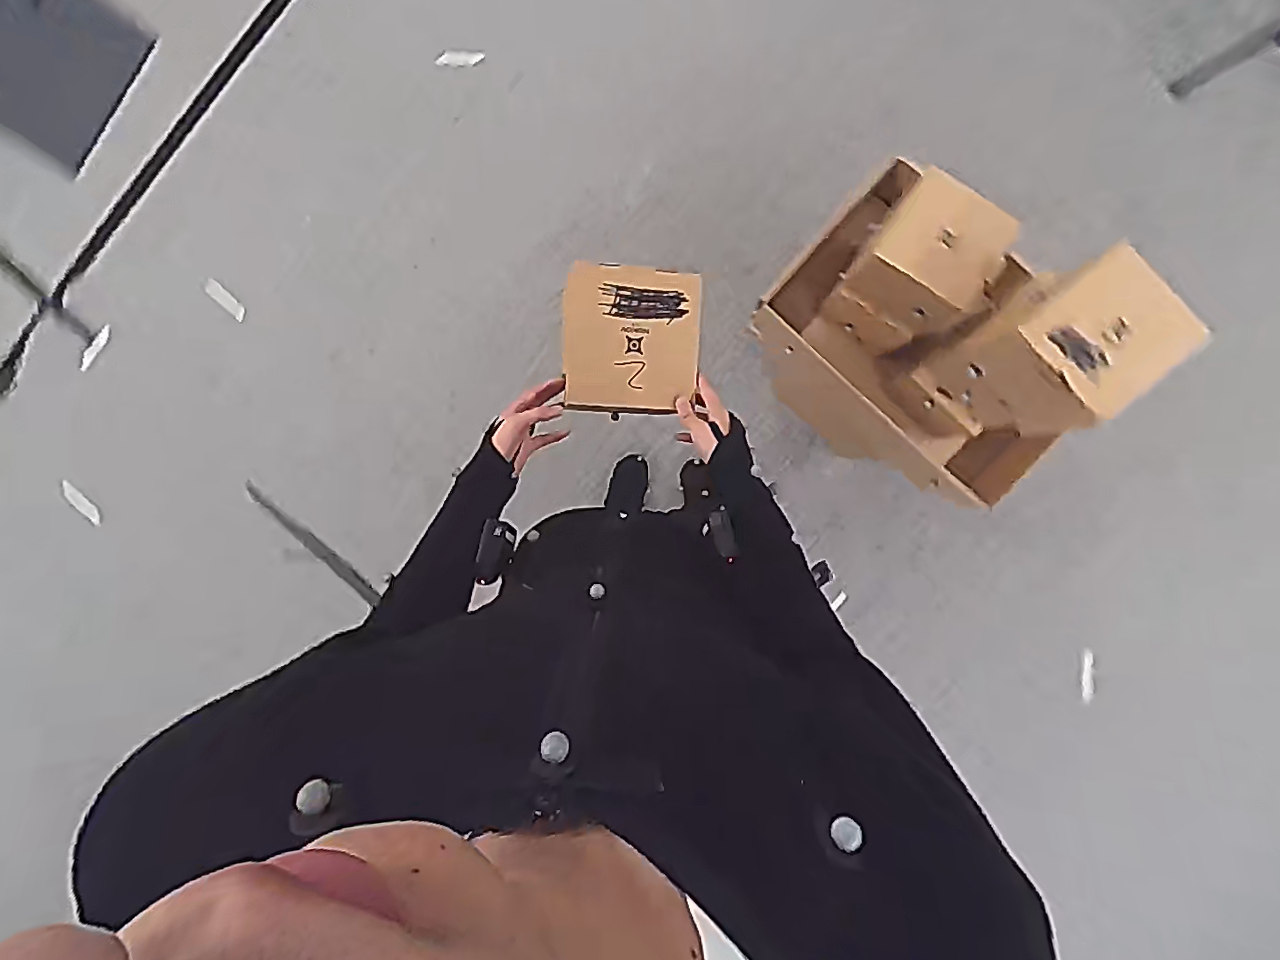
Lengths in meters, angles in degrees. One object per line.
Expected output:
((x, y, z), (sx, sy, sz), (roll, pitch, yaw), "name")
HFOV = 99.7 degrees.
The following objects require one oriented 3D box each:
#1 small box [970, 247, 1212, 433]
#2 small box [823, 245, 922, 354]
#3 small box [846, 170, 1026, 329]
((0.612, -0.183, 0.770), (0.179, 0.176, 0.168), (-40, 87, 4), "small box")
((0.501, -0.381, 1.096), (0.168, 0.176, 0.179), (35, 94, 0), "small box")
((0.495, -0.379, 0.932), (0.179, 0.176, 0.168), (34, 94, 0), "small box")
